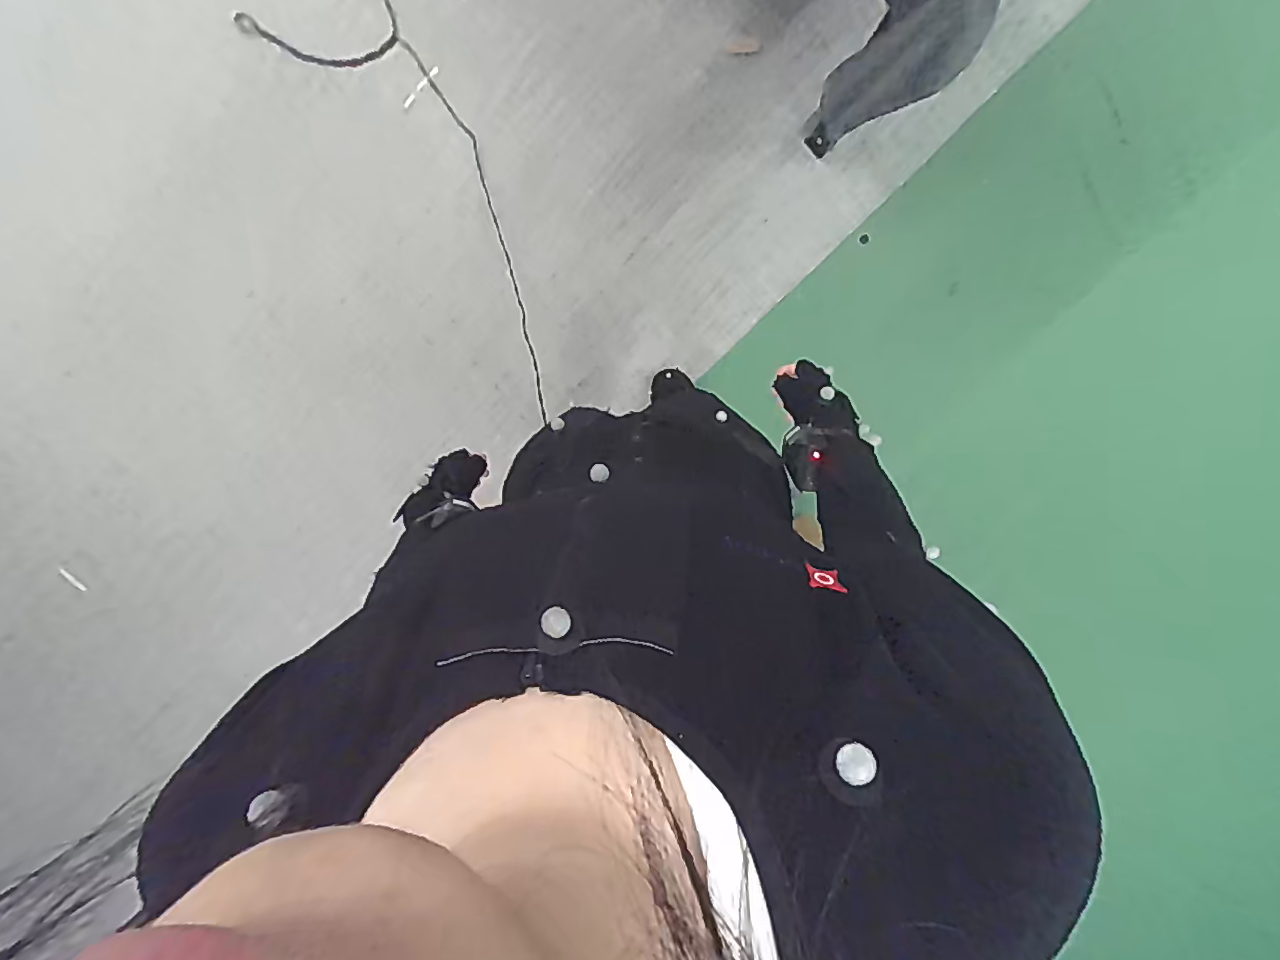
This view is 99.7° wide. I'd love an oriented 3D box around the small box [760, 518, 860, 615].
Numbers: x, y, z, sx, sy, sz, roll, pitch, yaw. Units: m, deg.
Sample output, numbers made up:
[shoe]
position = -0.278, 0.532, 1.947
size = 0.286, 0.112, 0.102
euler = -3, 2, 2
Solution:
[small box]
position = 0.442, 0.218, 1.438
size = 0.168, 0.176, 0.179
euler = -39, 97, 9
